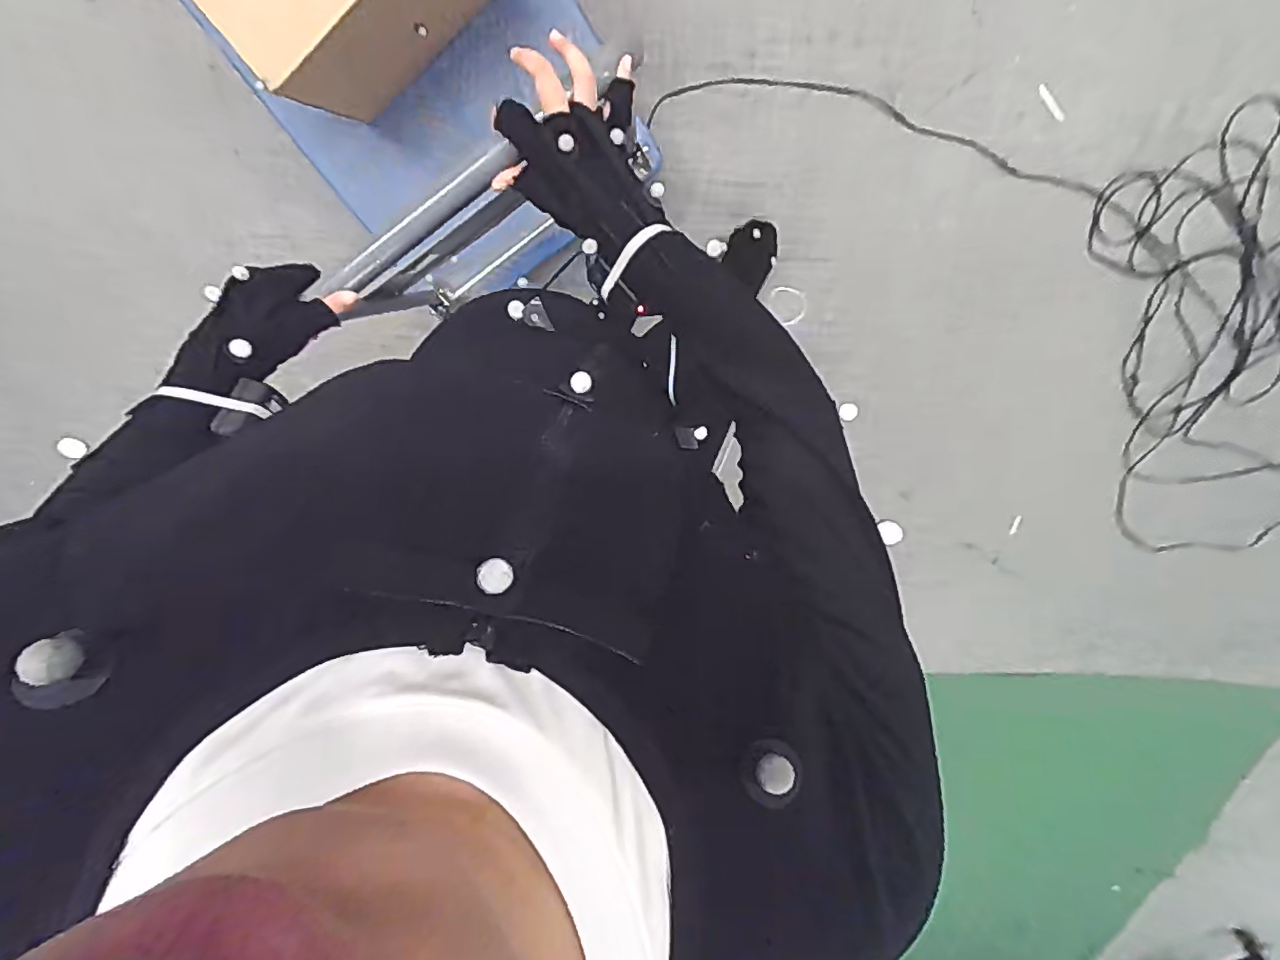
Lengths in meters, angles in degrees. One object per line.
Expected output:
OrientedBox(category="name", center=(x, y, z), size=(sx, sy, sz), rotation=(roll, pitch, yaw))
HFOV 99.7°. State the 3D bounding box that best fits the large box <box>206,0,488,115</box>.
OrientedBox(category="large box", center=(-0.431, -0.829, 0.783), size=(0.408, 0.320, 0.320), rotation=(-32, 112, 15))
